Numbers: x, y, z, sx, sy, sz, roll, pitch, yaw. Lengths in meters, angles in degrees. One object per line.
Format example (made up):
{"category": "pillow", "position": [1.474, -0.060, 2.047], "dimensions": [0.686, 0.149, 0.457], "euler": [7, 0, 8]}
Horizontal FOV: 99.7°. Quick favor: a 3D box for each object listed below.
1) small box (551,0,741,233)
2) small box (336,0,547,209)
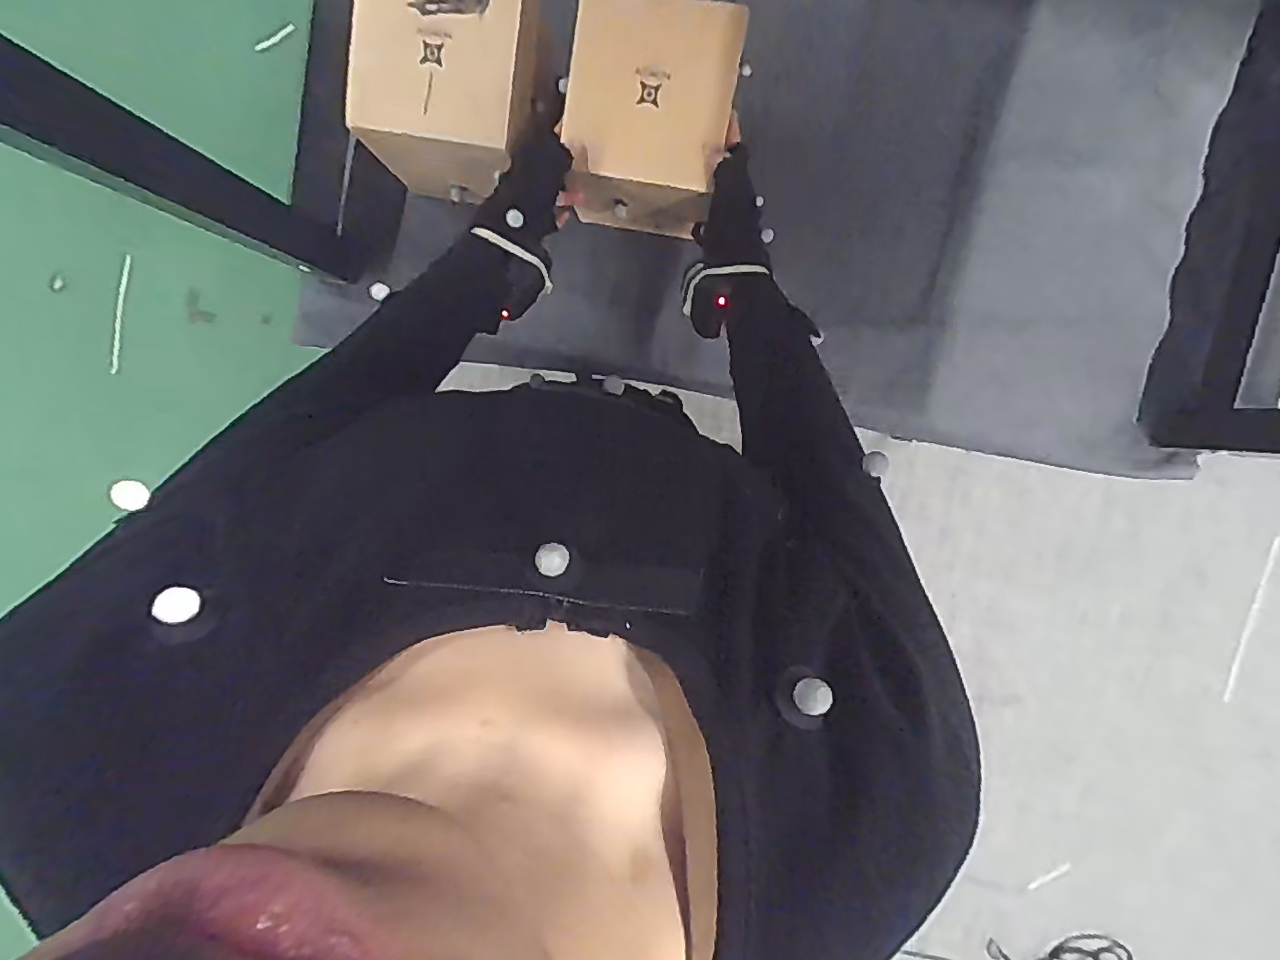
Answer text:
{"category": "small box", "position": [0.008, -0.399, 0.608], "dimensions": [0.168, 0.176, 0.179], "euler": [10, 97, 1]}
{"category": "small box", "position": [-0.206, -0.437, 0.606], "dimensions": [0.168, 0.176, 0.179], "euler": [9, 96, 0]}
